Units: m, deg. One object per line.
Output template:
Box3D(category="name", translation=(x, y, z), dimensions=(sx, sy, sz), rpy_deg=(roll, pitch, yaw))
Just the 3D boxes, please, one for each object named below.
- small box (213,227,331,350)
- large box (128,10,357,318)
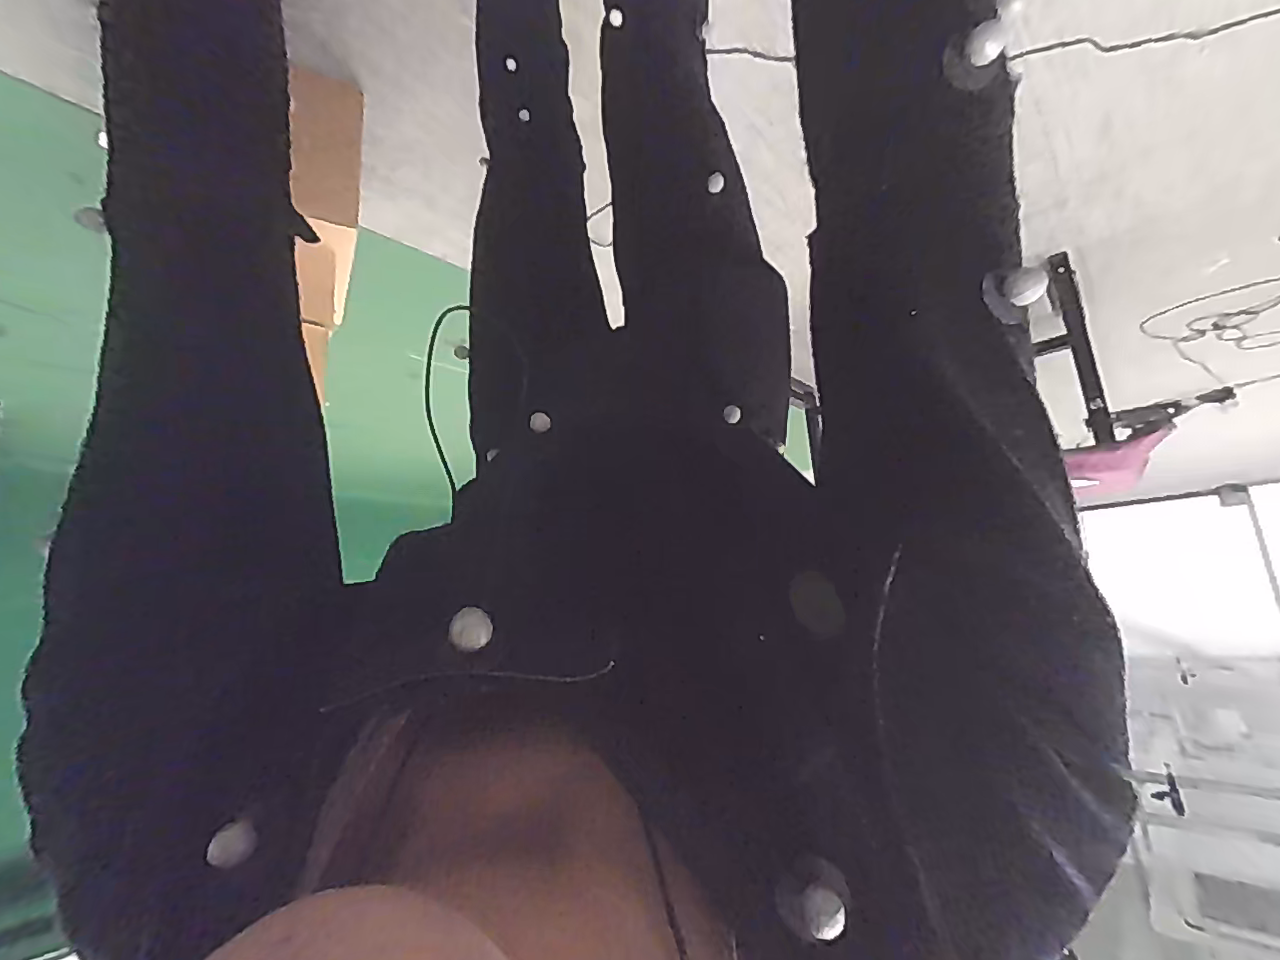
Box3D(category="small box", translation=(-0.704, -0.350, 1.035), dimensions=(0.179, 0.176, 0.168), rpy_deg=(5, 164, -38))
Box3D(category="large box", translation=(-0.763, -0.585, 1.092), dimensions=(0.320, 0.320, 0.408), rpy_deg=(5, 166, -32))
